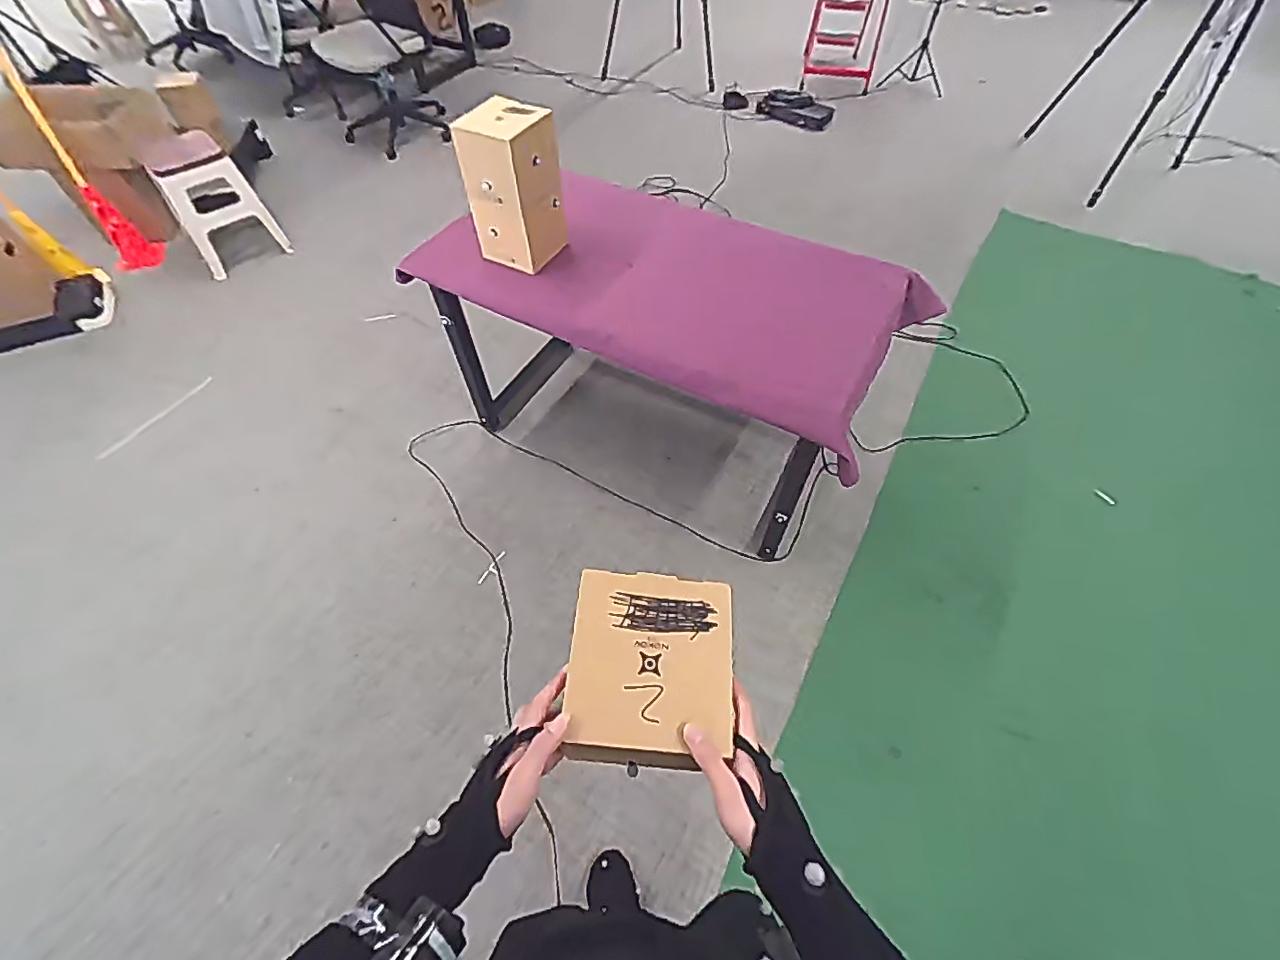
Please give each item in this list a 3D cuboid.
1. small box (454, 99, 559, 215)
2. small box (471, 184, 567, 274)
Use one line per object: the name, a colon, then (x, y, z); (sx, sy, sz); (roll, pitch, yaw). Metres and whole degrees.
small box: (-0.306, -0.769, 1.290); (0.168, 0.176, 0.179); (24, 59, 16)
small box: (-0.308, -0.674, 1.424); (0.168, 0.176, 0.179); (24, 58, 16)
